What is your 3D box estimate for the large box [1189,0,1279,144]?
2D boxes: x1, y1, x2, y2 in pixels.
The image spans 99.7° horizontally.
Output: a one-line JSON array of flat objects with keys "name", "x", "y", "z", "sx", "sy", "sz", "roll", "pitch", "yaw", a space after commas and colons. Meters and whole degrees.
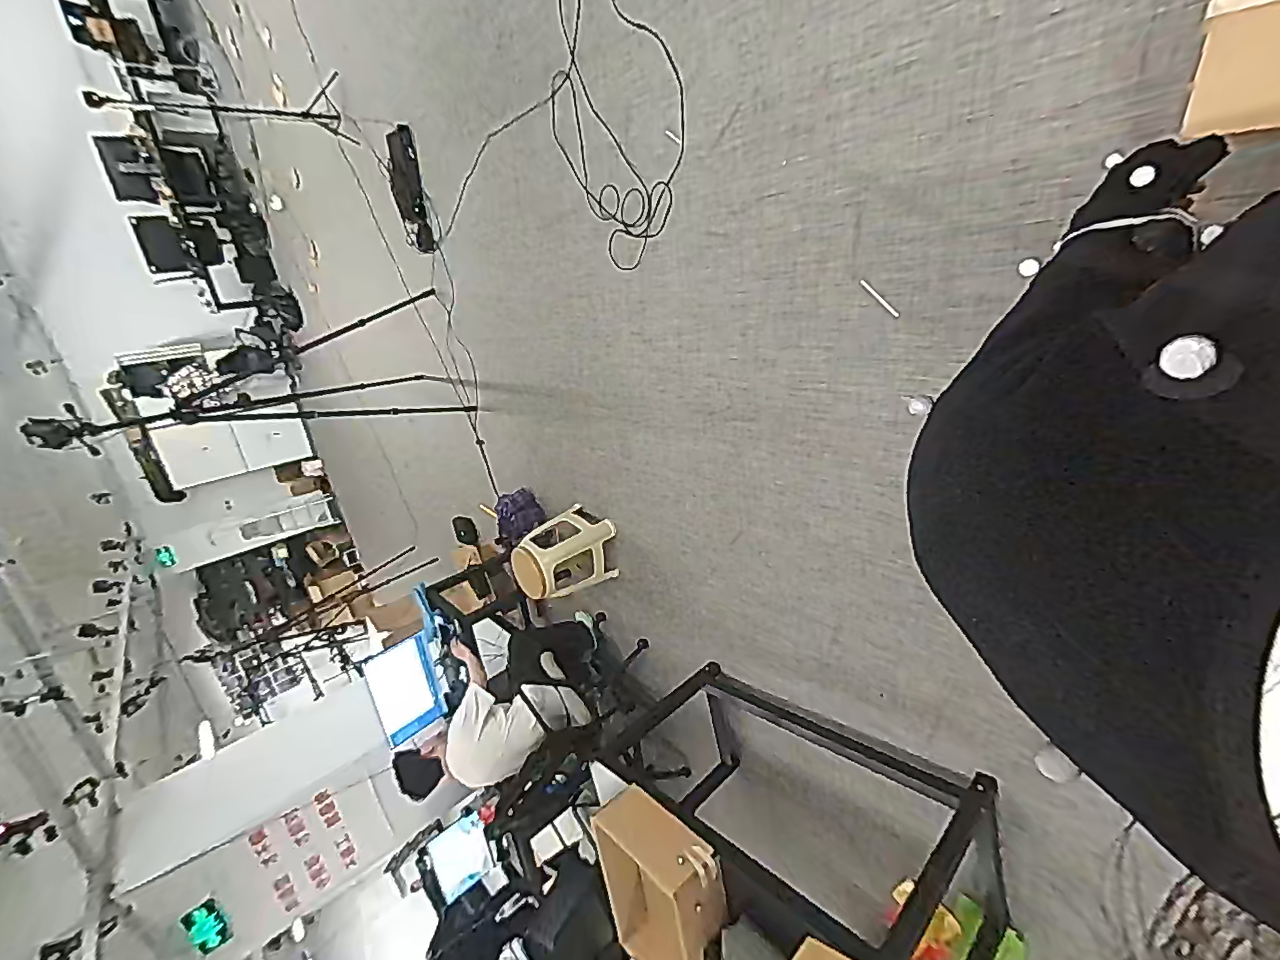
[{"name": "large box", "x": 1.020, "y": -0.643, "z": 0.675, "sx": 0.408, "sy": 0.320, "sz": 0.320, "roll": 20, "pitch": 124, "yaw": 44}]
